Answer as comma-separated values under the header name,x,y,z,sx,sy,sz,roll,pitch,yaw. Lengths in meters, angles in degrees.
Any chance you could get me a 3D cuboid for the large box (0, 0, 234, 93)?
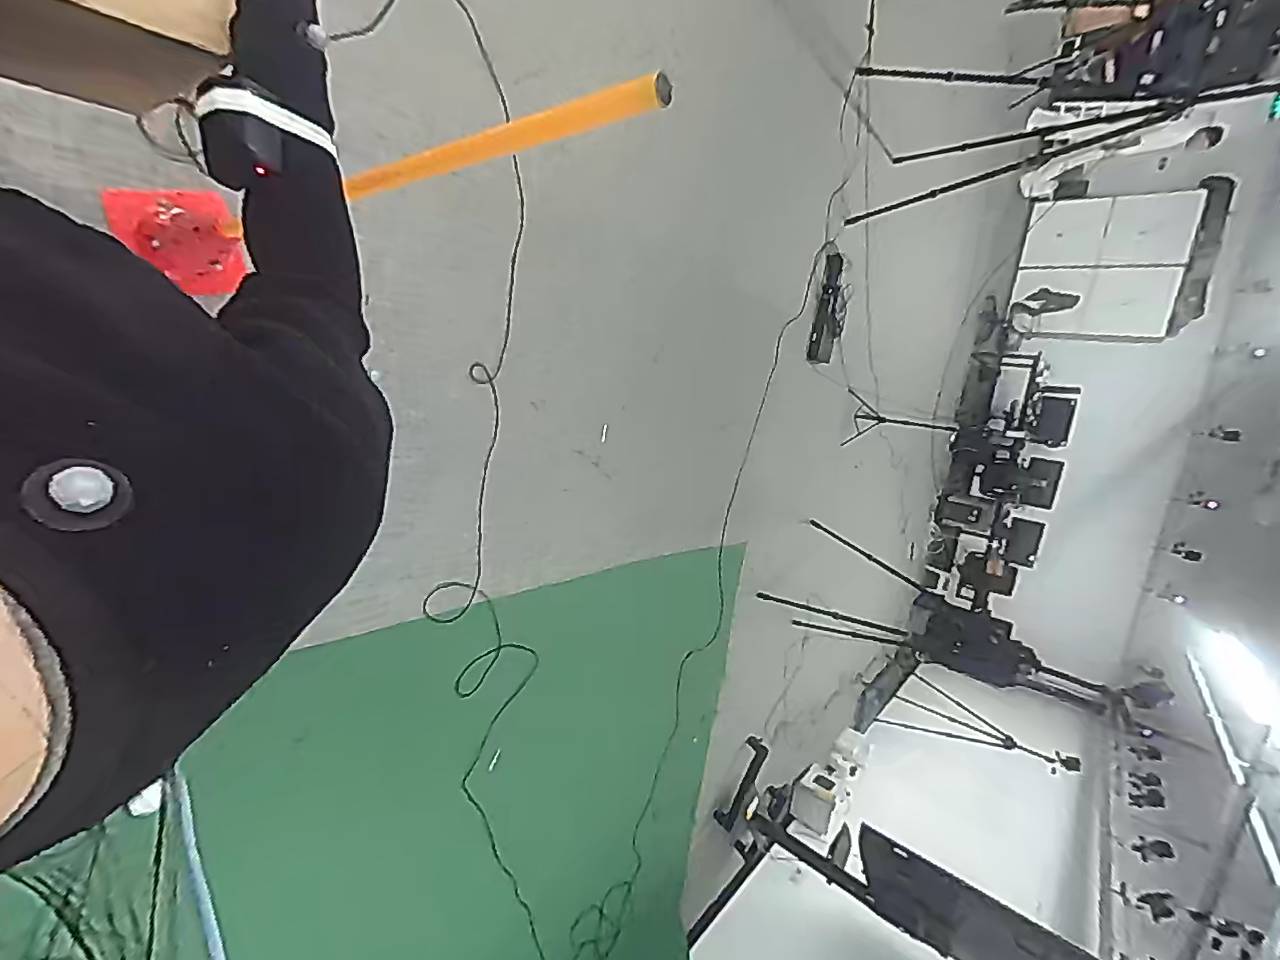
name,x,y,z,sx,sy,sz,roll,pitch,yaw
large box,-0.537,-0.488,0.314,0.408,0.320,0.320,-14,115,-49
